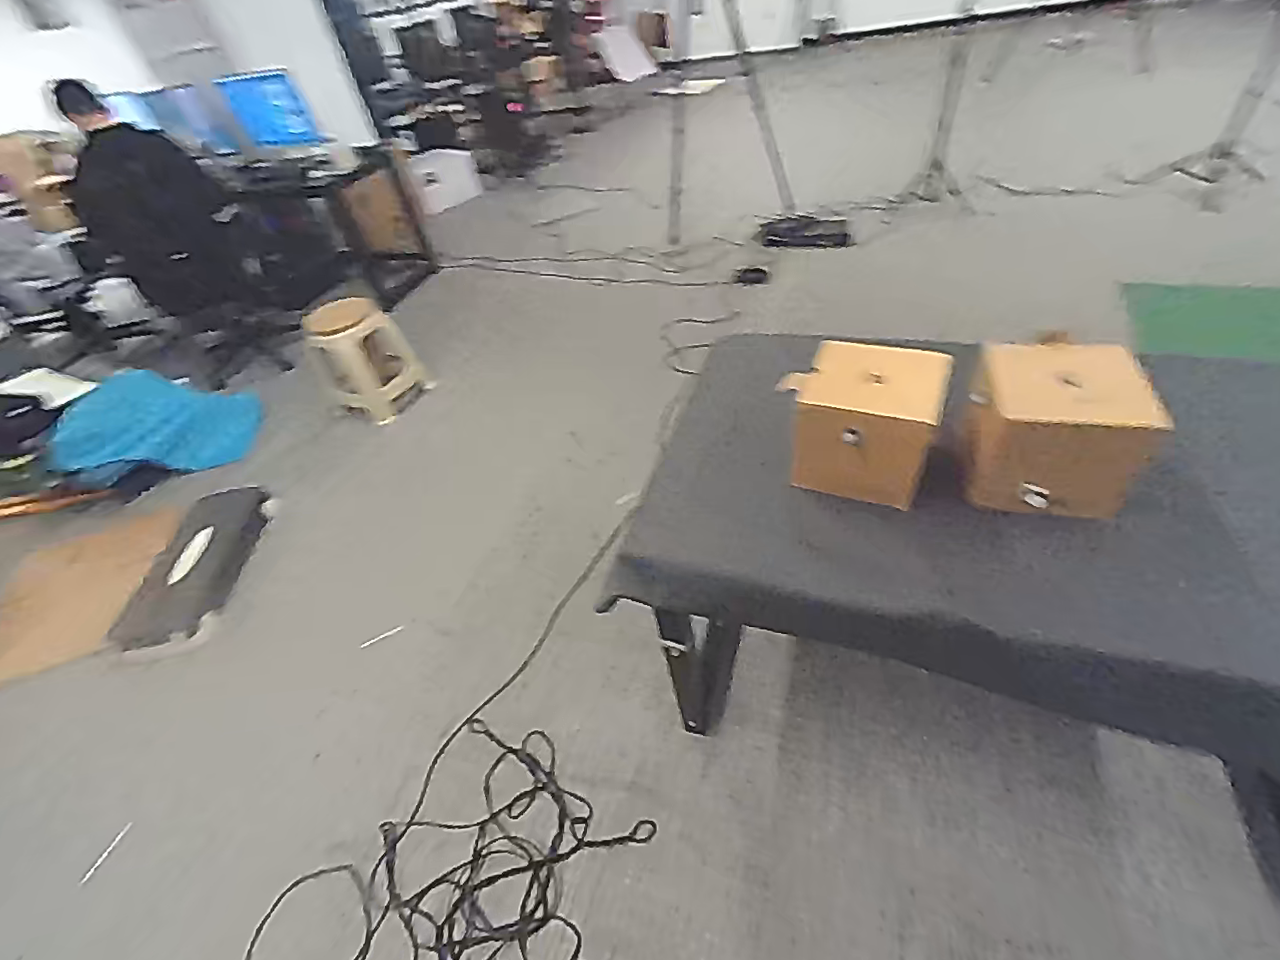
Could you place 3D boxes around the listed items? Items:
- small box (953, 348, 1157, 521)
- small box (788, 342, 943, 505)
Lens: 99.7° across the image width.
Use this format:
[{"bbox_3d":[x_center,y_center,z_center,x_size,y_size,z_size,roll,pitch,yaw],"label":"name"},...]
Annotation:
[{"bbox_3d":[0.557,-0.067,0.760,0.168,0.176,0.179,4,46,18],"label":"small box"},{"bbox_3d":[0.335,-0.084,0.819,0.179,0.176,0.168,14,49,25],"label":"small box"}]
